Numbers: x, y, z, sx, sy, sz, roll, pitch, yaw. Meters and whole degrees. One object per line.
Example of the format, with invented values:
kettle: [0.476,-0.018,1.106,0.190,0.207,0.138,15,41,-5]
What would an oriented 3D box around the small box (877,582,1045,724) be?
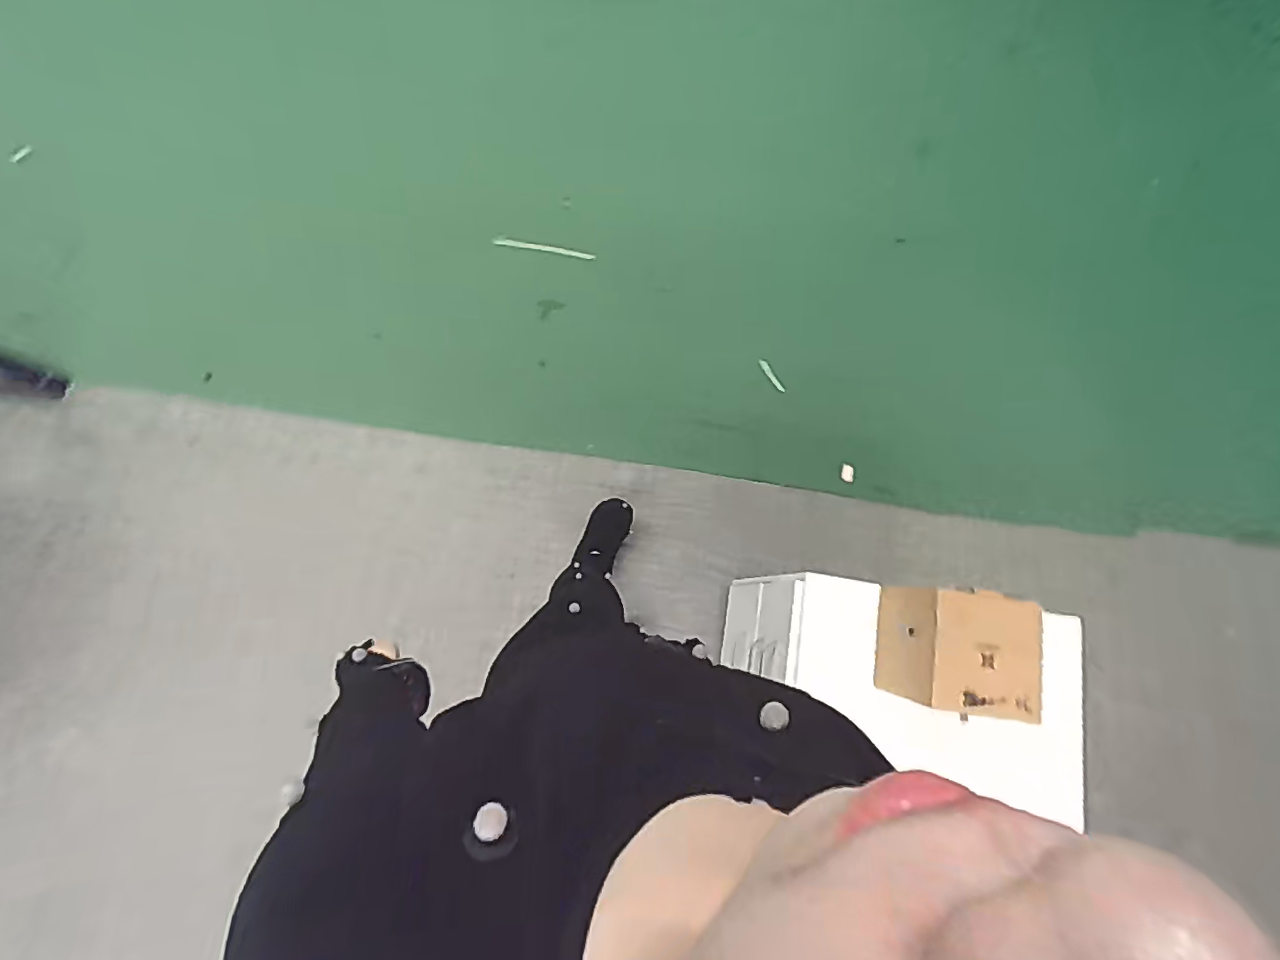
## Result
small box: [0.495,0.262,0.853,0.168,0.176,0.179,10,79,-2]
